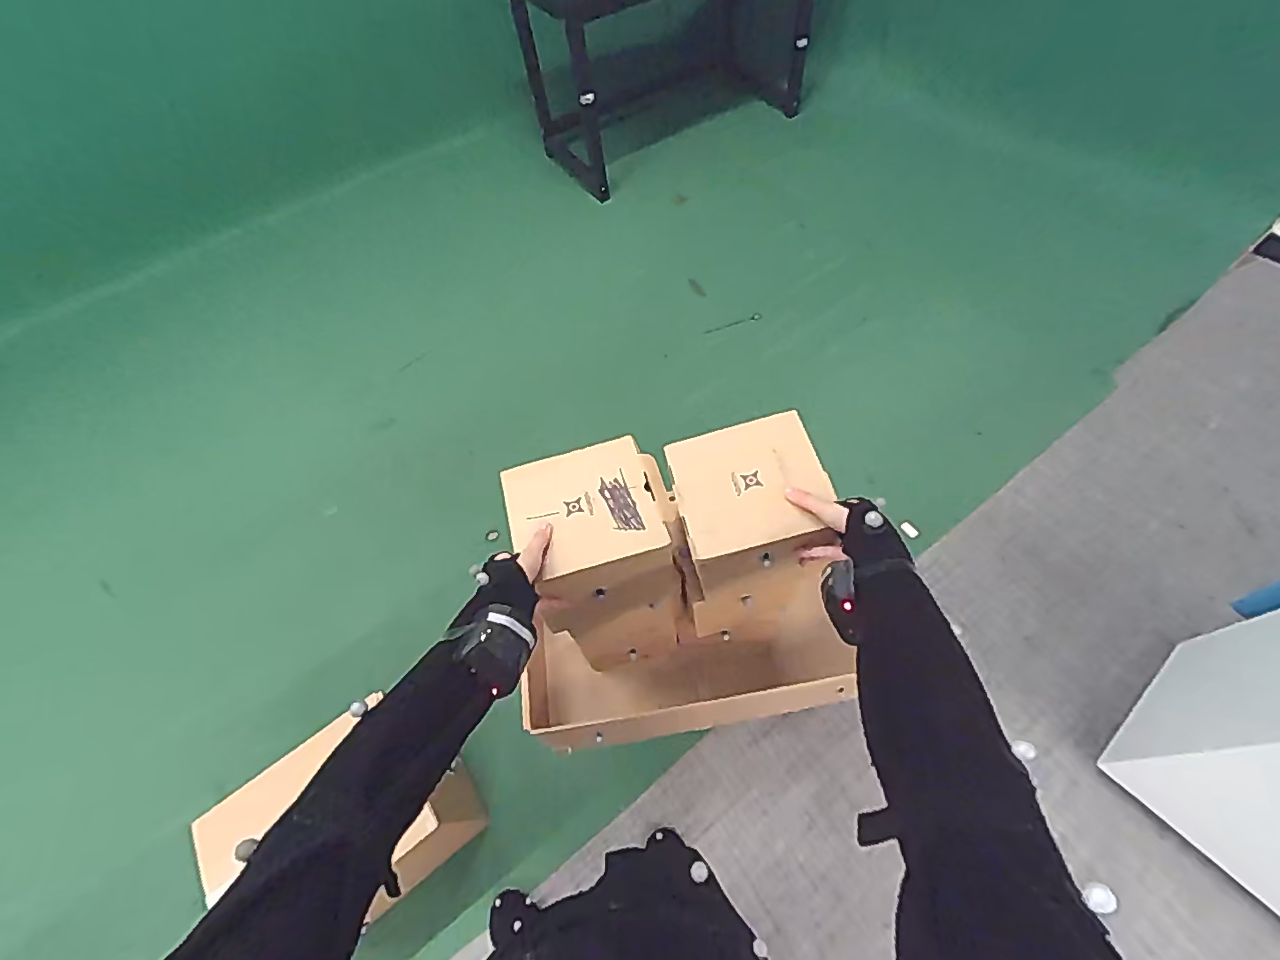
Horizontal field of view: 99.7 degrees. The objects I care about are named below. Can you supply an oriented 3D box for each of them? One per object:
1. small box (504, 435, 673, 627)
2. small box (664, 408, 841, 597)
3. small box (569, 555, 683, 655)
[{"bbox_3d":[-0.063,0.072,0.710,0.179,0.176,0.168,-16,56,-5],"label":"small box"},{"bbox_3d":[0.143,0.038,0.709,0.179,0.176,0.168,-15,58,4],"label":"small box"},{"bbox_3d":[-0.046,0.150,0.855,0.179,0.176,0.168,-24,58,-10],"label":"small box"}]
